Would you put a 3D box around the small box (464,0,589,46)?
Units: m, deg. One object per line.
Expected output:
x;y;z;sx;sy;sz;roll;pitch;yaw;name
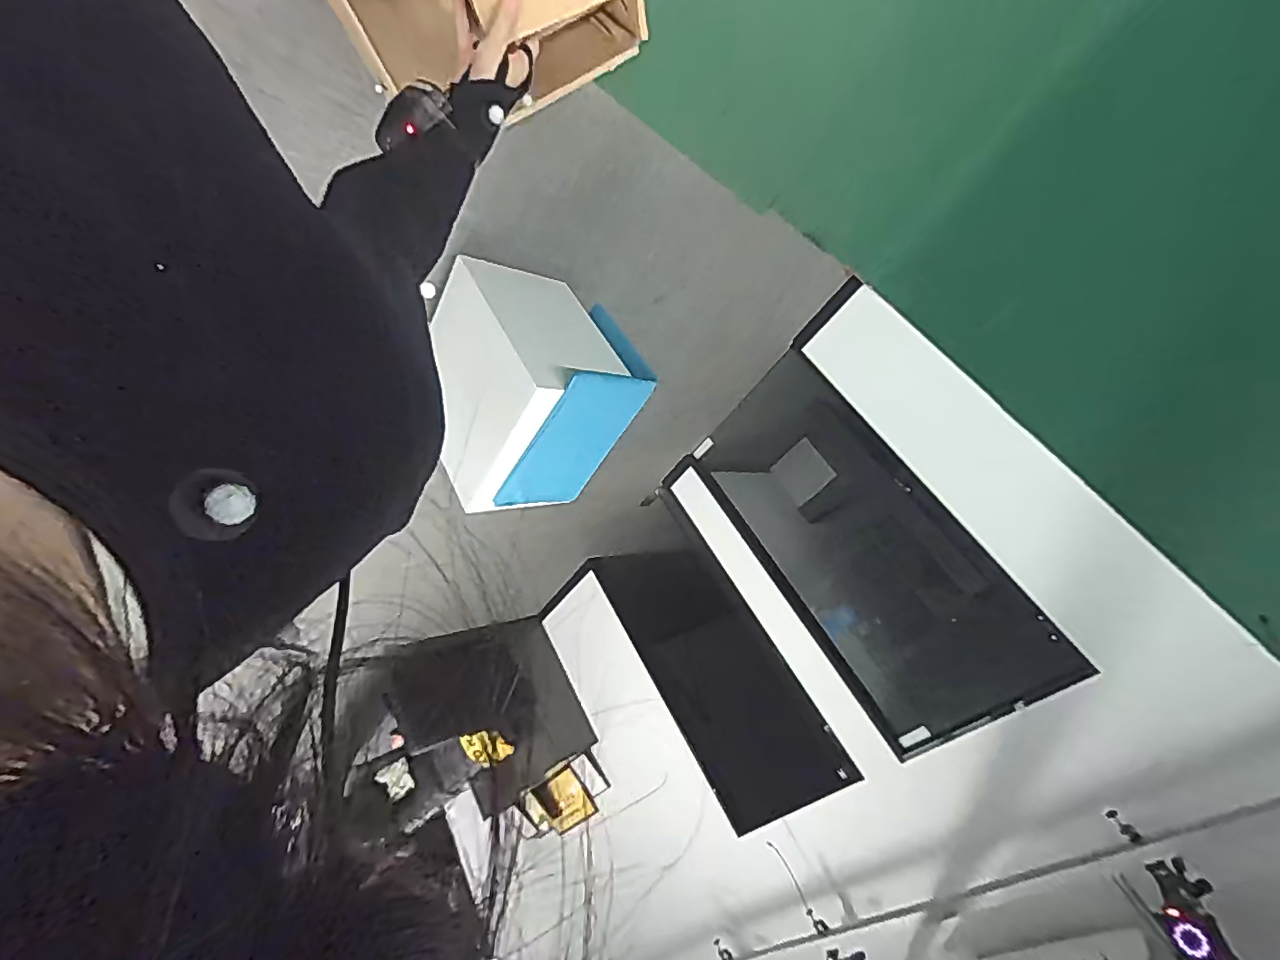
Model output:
-0.123;-0.560;0.492;0.168;0.176;0.179;-24;152;2;small box
